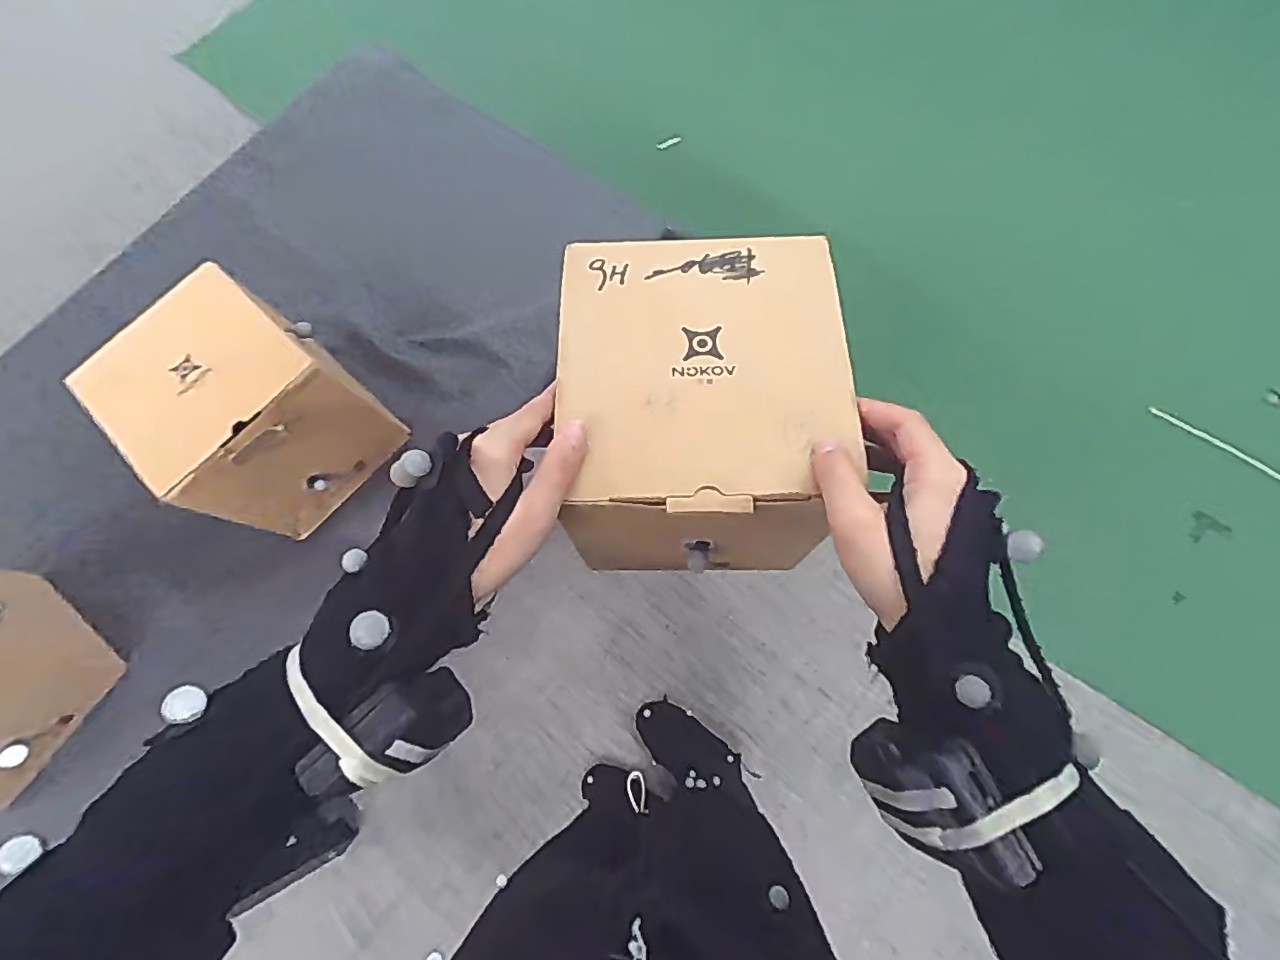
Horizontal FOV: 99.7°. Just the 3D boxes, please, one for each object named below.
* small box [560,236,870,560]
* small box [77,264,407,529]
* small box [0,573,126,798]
[{"bbox_3d":[0.043,-0.042,0.386,0.168,0.176,0.179,-1,69,2],"label":"small box"},{"bbox_3d":[-0.385,-0.072,0.554,0.179,0.176,0.168,40,80,15],"label":"small box"},{"bbox_3d":[-0.654,0.189,0.495,0.179,0.176,0.168,33,78,14],"label":"small box"}]
